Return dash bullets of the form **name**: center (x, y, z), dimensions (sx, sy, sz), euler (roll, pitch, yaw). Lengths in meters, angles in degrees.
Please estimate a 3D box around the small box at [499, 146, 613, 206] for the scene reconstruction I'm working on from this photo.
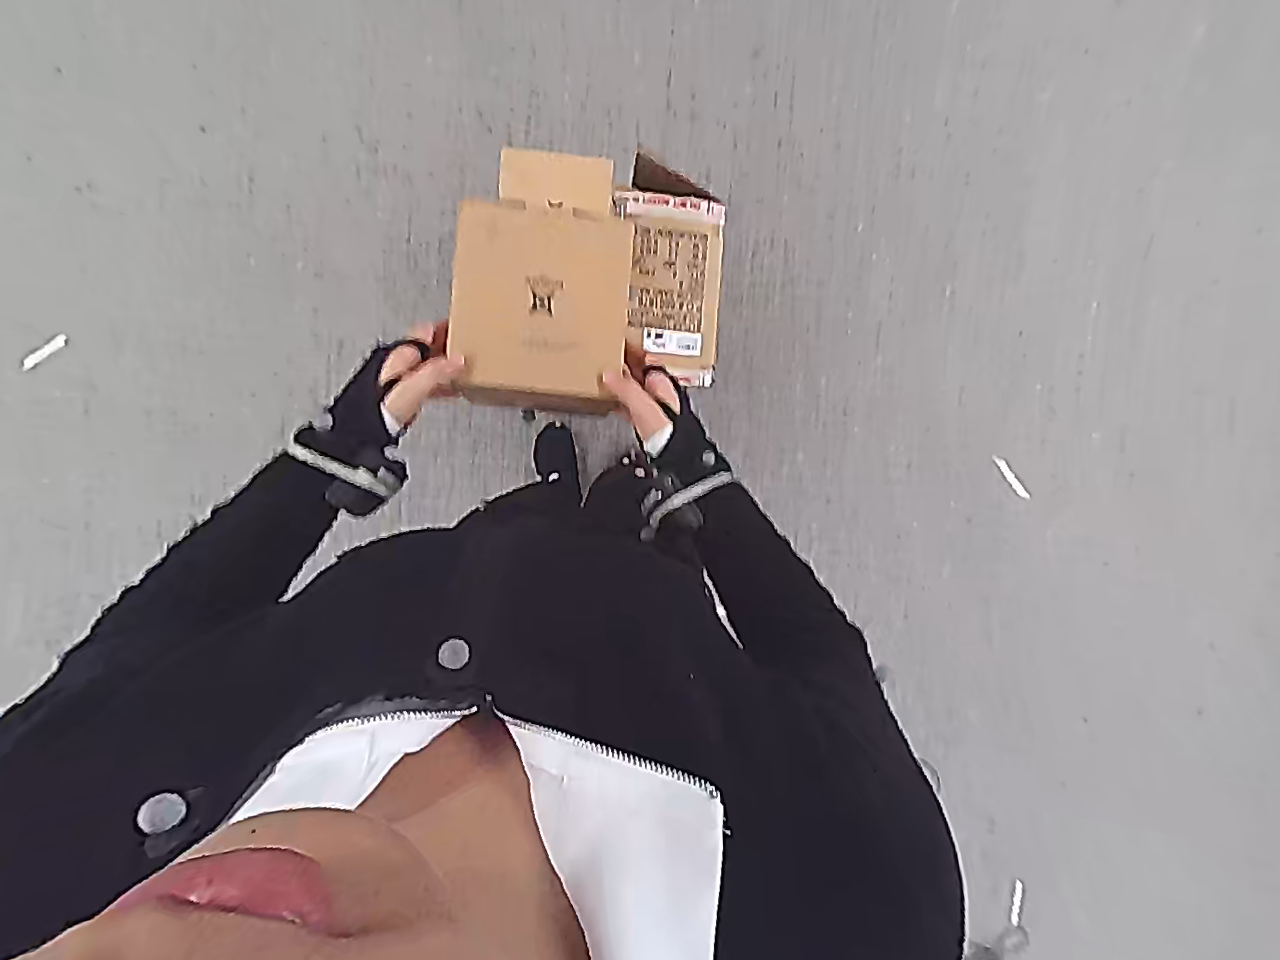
- **small box**: center (-0.134, -0.402, 0.878), dimensions (0.168, 0.176, 0.179), euler (5, 97, -3)

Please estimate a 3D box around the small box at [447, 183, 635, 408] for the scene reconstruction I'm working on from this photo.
- **small box**: center (-0.104, -0.183, 0.591), dimensions (0.168, 0.176, 0.179), euler (4, 89, -8)
